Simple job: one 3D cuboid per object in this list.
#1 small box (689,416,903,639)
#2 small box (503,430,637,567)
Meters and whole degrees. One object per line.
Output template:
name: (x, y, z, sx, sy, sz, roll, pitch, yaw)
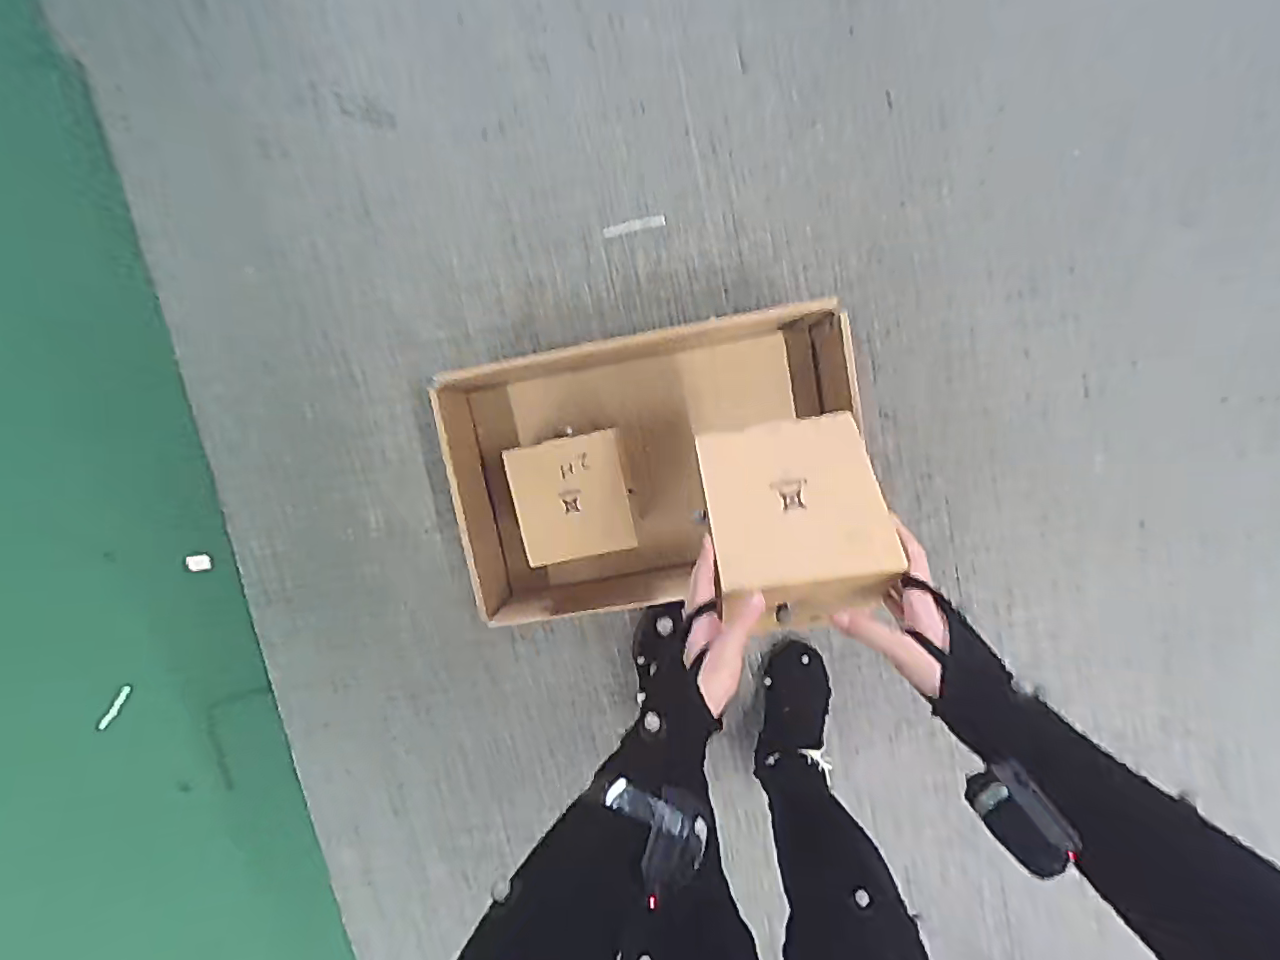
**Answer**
small box: (0.150, 0.061, 0.577, 0.168, 0.176, 0.179, -9, 57, 3)
small box: (-0.100, 0.021, 0.860, 0.168, 0.176, 0.179, -11, 96, 2)
